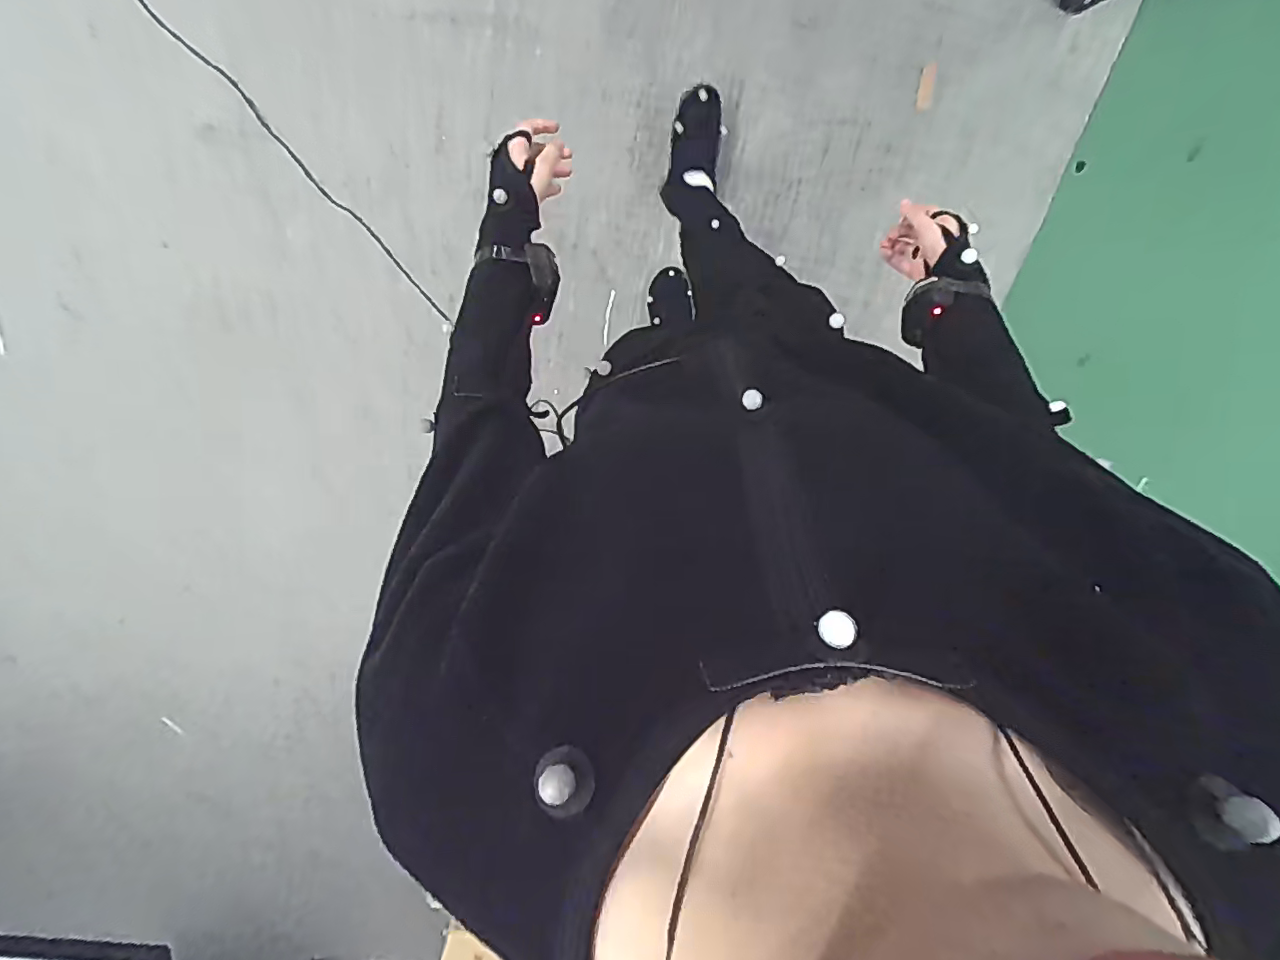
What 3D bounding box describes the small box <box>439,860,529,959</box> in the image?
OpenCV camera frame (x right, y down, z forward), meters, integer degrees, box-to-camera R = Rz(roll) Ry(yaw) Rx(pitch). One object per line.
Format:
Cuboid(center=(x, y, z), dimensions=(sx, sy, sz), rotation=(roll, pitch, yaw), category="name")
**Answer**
Cuboid(center=(-0.382, 1.085, 1.338), dimensions=(0.168, 0.176, 0.179), rotation=(17, 112, -7), category="small box")
